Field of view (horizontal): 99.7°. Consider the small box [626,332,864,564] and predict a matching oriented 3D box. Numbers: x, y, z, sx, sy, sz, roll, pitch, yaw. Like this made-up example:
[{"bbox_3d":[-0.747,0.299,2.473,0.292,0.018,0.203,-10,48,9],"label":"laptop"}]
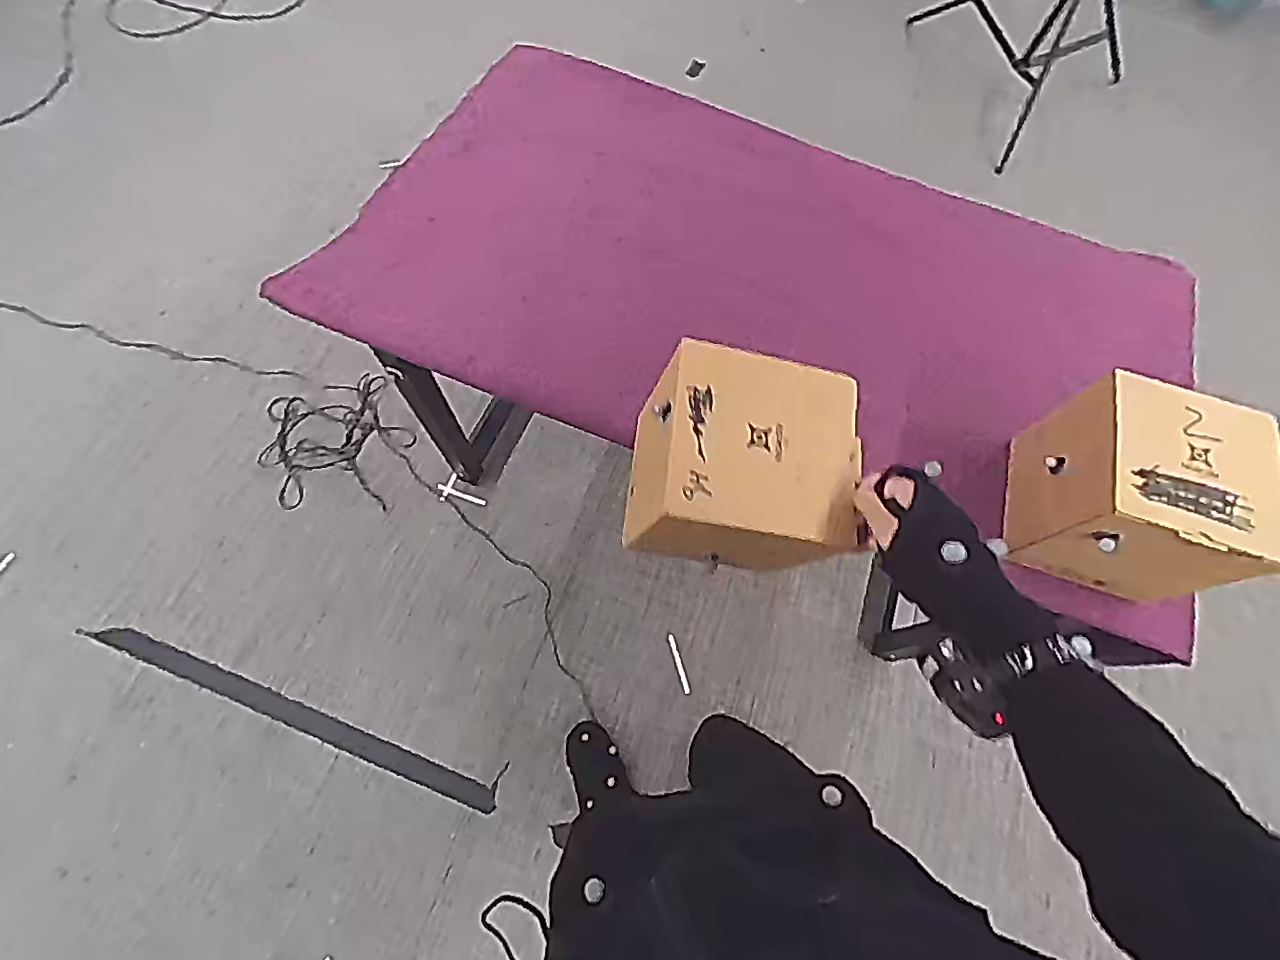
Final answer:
[{"bbox_3d":[0.097,-0.016,0.542,0.179,0.176,0.168,12,71,-10],"label":"small box"}]
